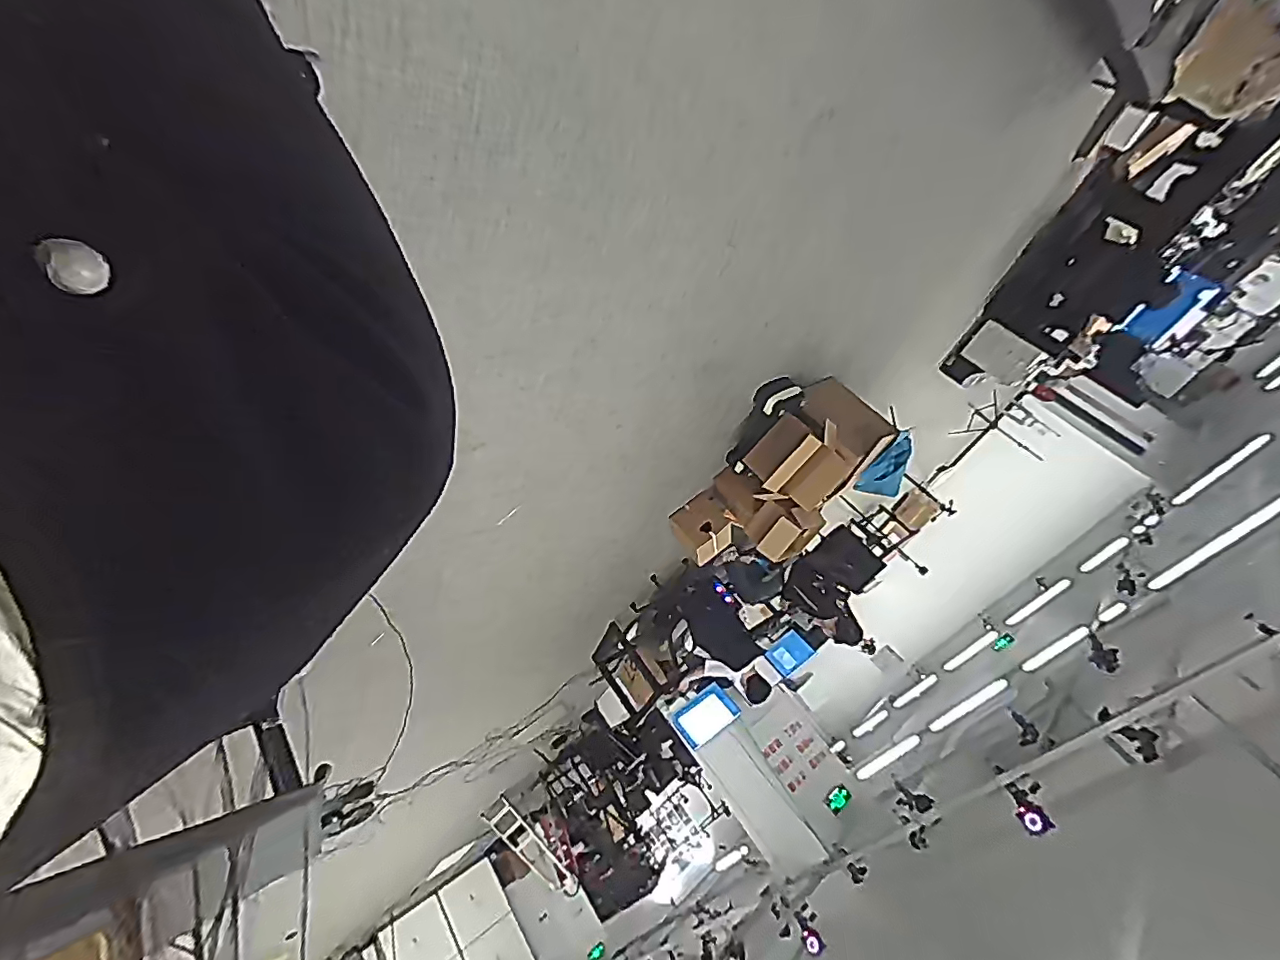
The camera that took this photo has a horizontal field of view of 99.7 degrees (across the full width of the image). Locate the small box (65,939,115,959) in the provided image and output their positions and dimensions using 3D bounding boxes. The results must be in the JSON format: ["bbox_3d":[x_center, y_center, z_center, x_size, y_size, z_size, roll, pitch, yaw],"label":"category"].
[{"bbox_3d":[-1.427,1.302,1.344,0.179,0.176,0.168,-13,141,-42],"label":"small box"}]
